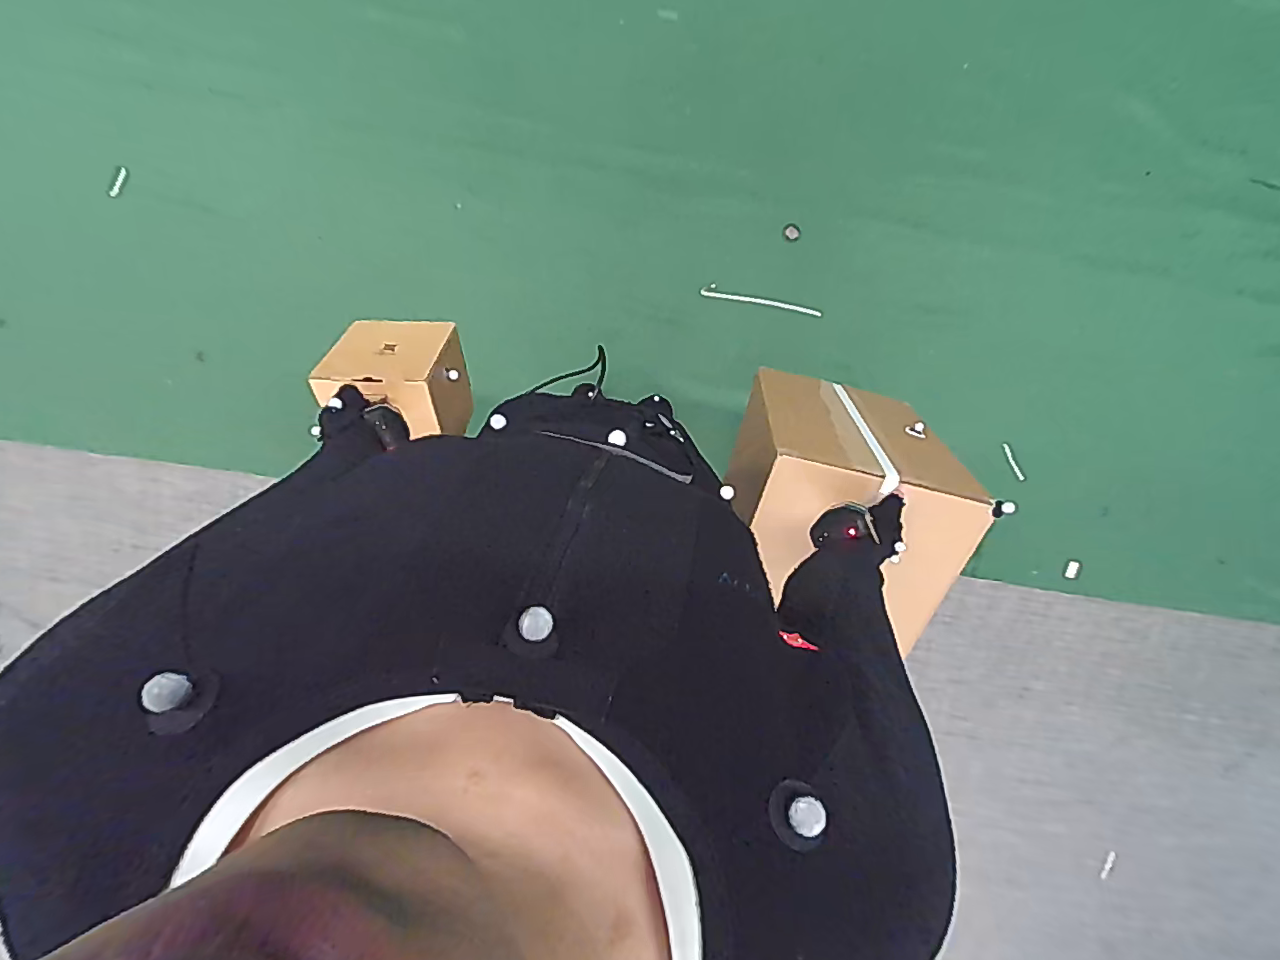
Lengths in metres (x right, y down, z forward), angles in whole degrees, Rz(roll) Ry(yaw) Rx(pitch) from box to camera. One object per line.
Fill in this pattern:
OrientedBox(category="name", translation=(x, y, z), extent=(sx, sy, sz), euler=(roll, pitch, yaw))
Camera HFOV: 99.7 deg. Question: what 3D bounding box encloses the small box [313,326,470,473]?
OrientedBox(category="small box", translation=(-0.386, -0.132, 0.880), extent=(0.168, 0.179, 0.176), euler=(1, 133, -1))
